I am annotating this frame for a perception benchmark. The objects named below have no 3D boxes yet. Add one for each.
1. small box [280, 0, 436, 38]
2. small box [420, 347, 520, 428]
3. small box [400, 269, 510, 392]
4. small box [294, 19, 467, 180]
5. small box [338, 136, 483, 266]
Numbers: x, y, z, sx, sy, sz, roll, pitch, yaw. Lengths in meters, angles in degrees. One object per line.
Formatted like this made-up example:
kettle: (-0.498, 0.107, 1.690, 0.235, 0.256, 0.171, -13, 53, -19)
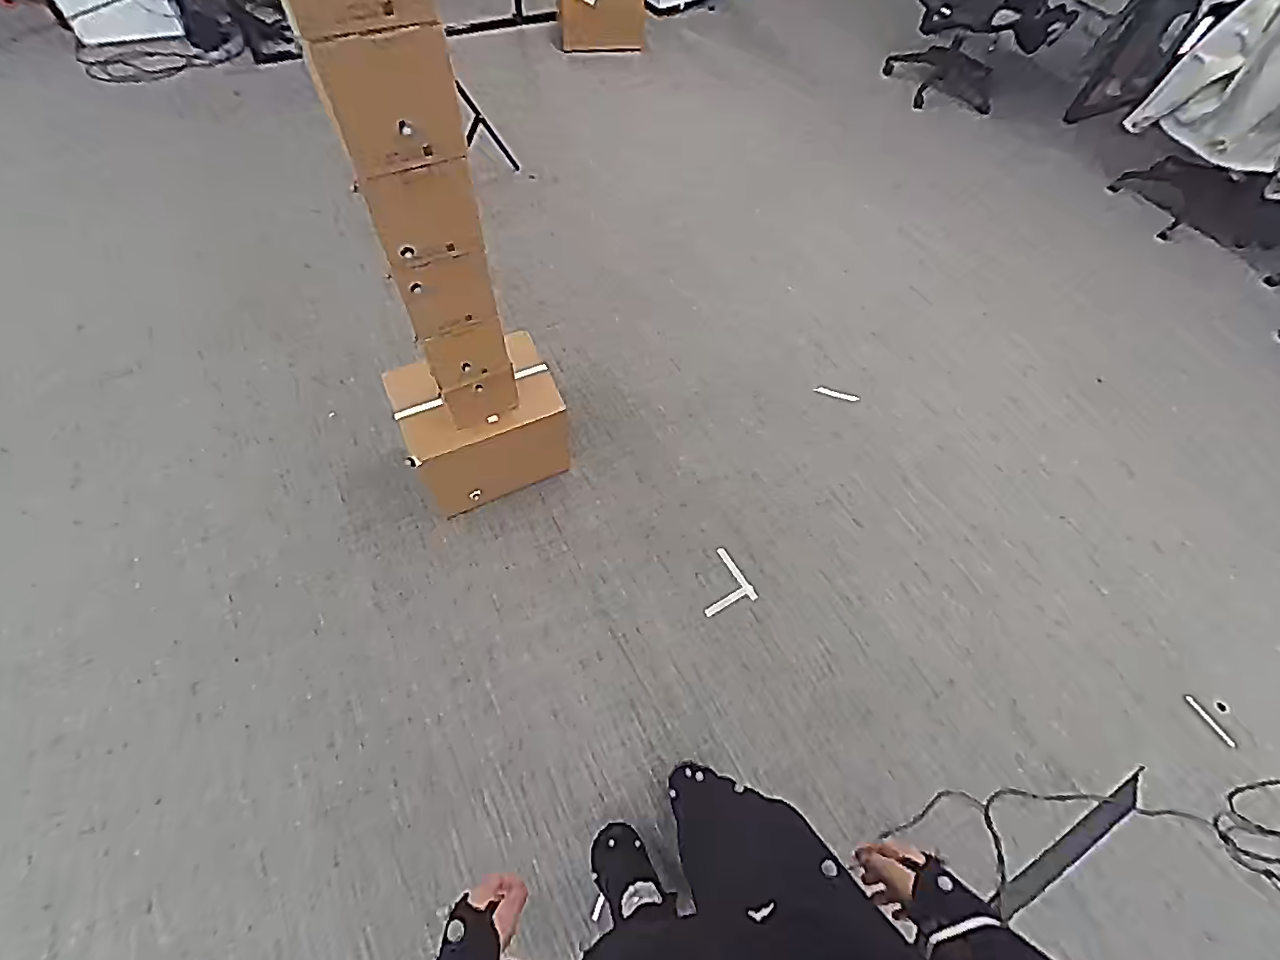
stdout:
small box: (-0.359, -0.646, 0.625, 0.168, 0.176, 0.179, -26, 67, -18)
small box: (-0.416, -0.255, 1.342, 0.179, 0.176, 0.168, -25, 66, -18)
small box: (-0.404, -0.328, 1.198, 0.168, 0.176, 0.179, -24, 66, -17)
small box: (-0.366, -0.565, 0.767, 0.168, 0.176, 0.179, -25, 67, -17)
small box: (-0.379, -0.486, 0.911, 0.168, 0.176, 0.179, -22, 65, -16)
